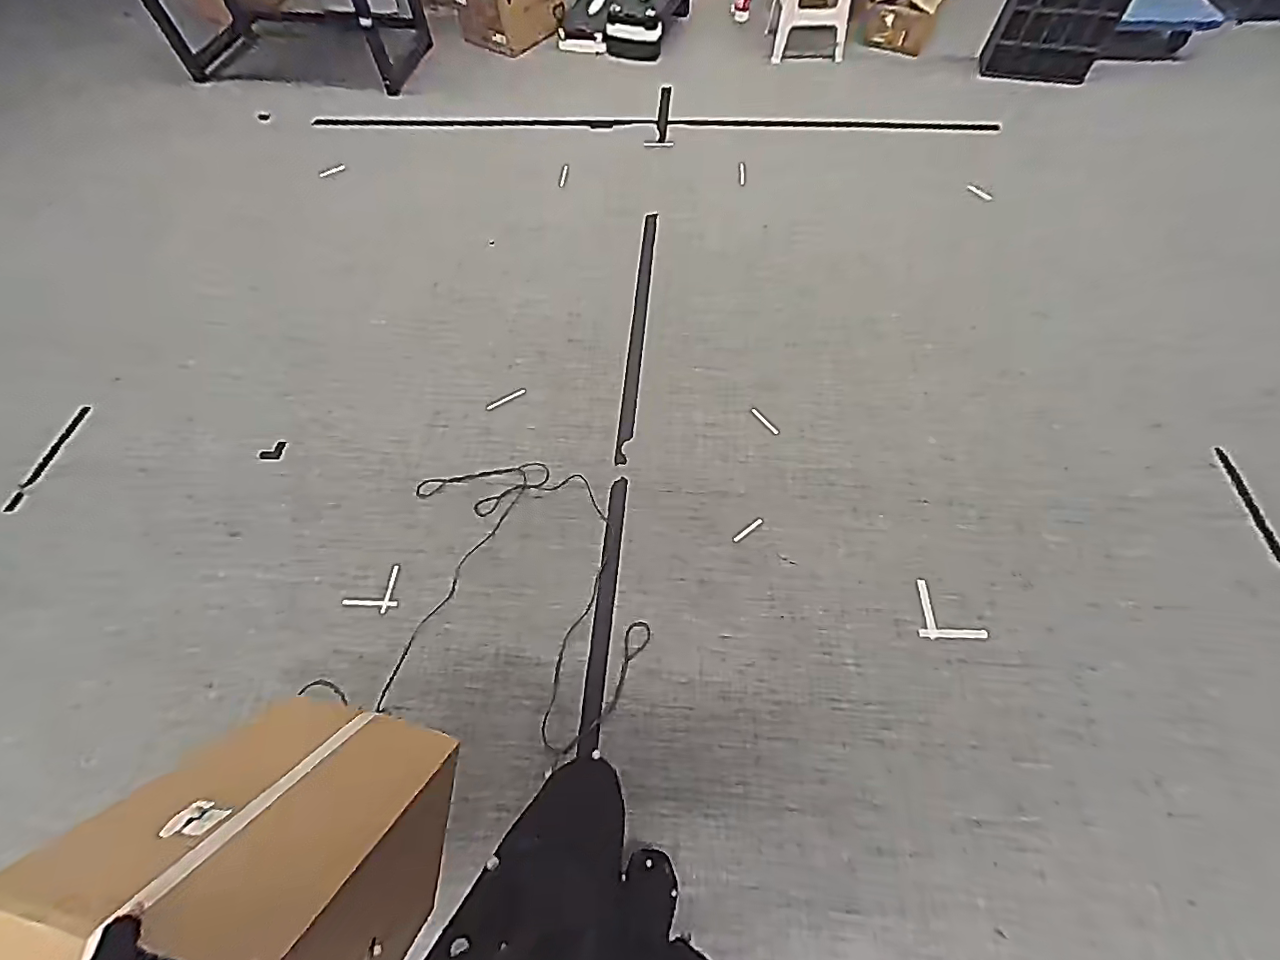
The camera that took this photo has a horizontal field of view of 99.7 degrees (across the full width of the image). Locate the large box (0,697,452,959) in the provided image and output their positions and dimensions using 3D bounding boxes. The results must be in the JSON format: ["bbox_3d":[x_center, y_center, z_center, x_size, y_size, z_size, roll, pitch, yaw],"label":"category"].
[{"bbox_3d":[-0.505,0.566,0.724,0.320,0.408,0.320,12,98,7],"label":"large box"}]
